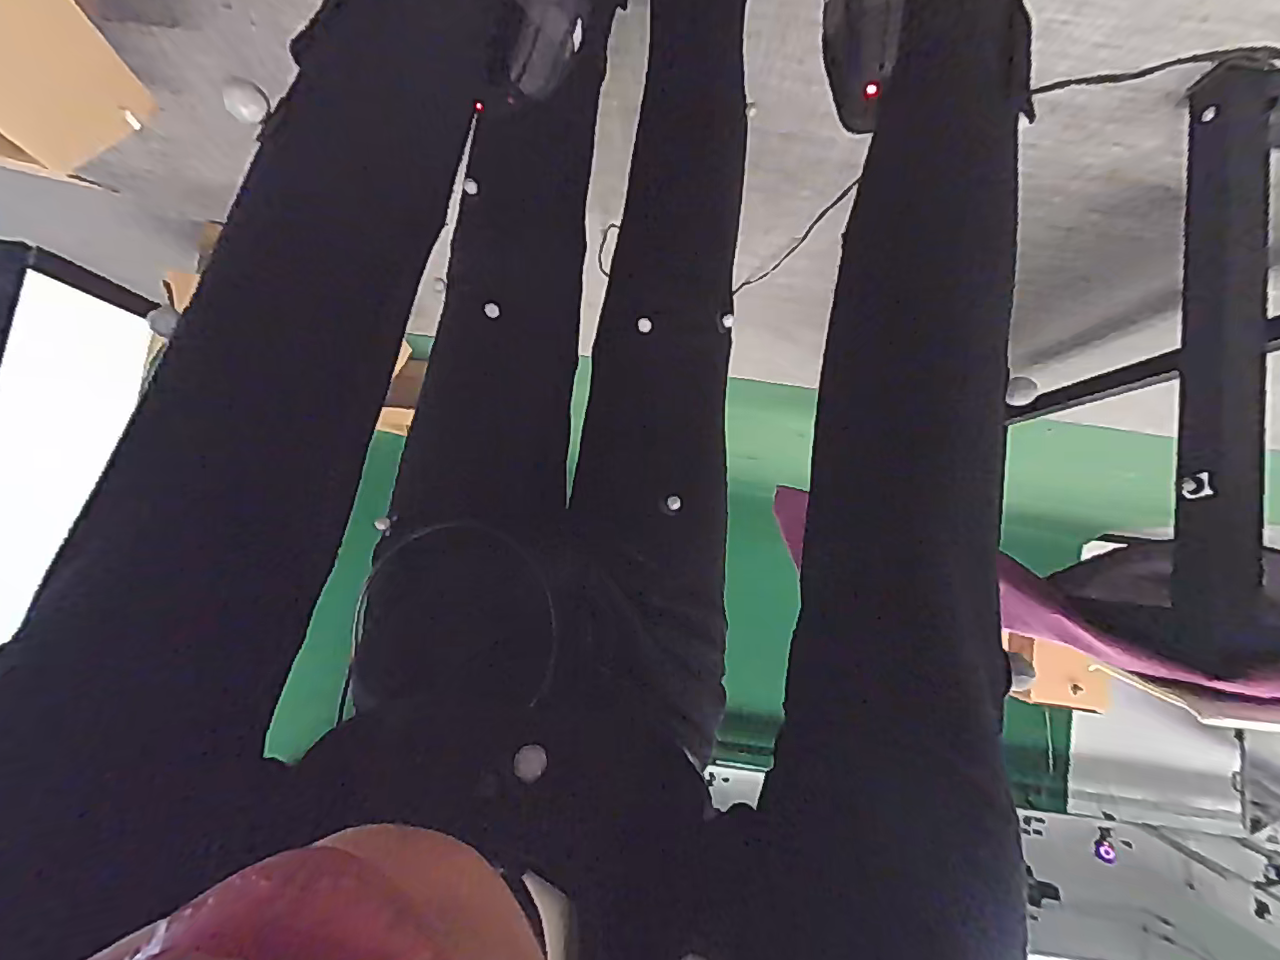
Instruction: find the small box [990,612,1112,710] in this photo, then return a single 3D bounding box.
[{"bbox_3d":[0.910,0.398,1.218,0.179,0.176,0.168,8,174,-1],"label":"small box"}]
